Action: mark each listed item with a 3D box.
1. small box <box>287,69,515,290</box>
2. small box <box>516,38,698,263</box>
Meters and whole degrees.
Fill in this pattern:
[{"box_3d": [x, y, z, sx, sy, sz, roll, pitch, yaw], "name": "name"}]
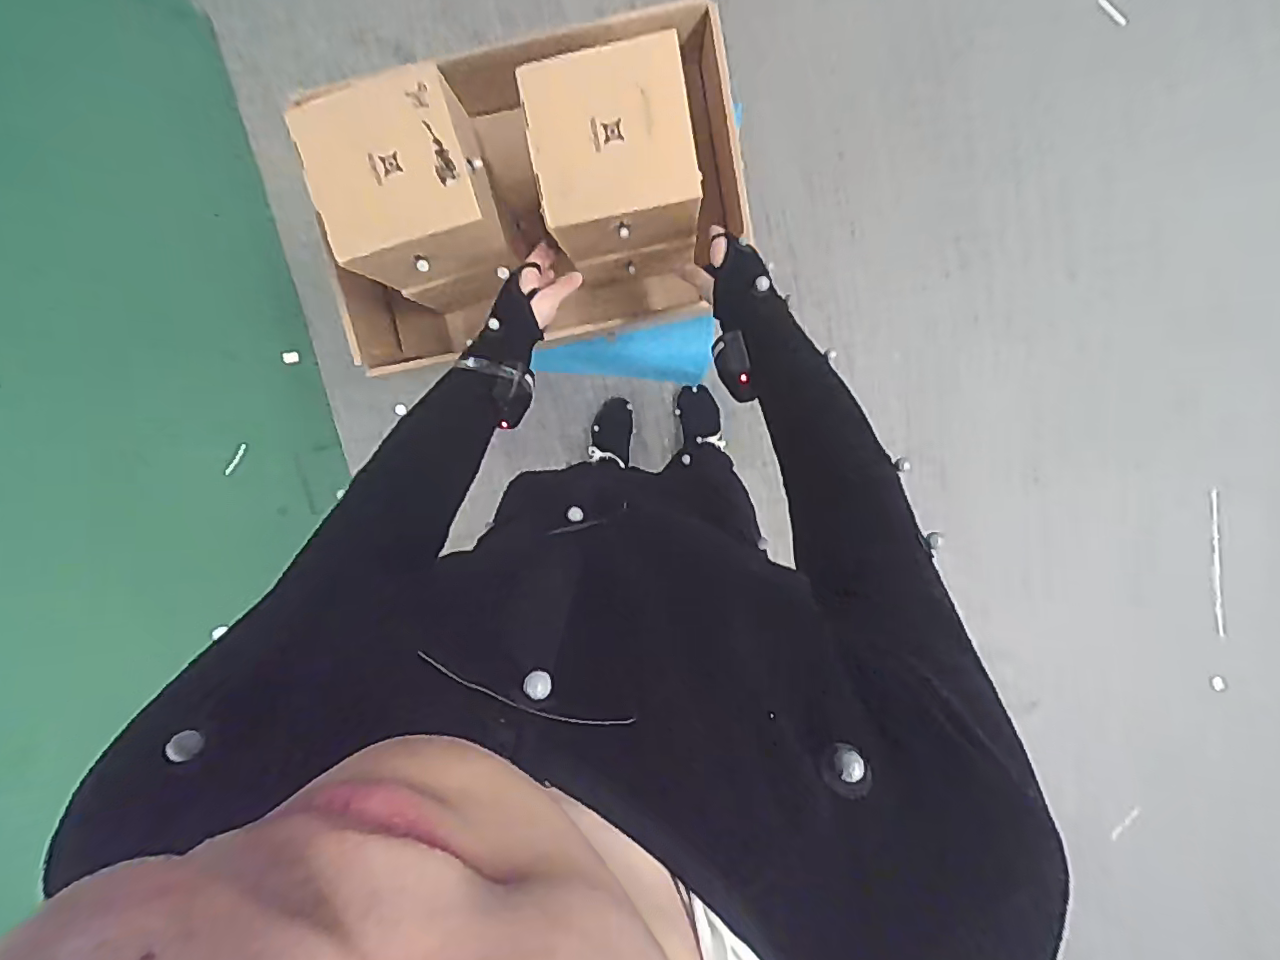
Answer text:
[{"box_3d": [-0.278, -0.350, 0.670, 0.179, 0.176, 0.168, -16, 99, 4], "name": "small box"}, {"box_3d": [-0.029, -0.377, 0.656, 0.179, 0.176, 0.168, -9, 99, 4], "name": "small box"}]
